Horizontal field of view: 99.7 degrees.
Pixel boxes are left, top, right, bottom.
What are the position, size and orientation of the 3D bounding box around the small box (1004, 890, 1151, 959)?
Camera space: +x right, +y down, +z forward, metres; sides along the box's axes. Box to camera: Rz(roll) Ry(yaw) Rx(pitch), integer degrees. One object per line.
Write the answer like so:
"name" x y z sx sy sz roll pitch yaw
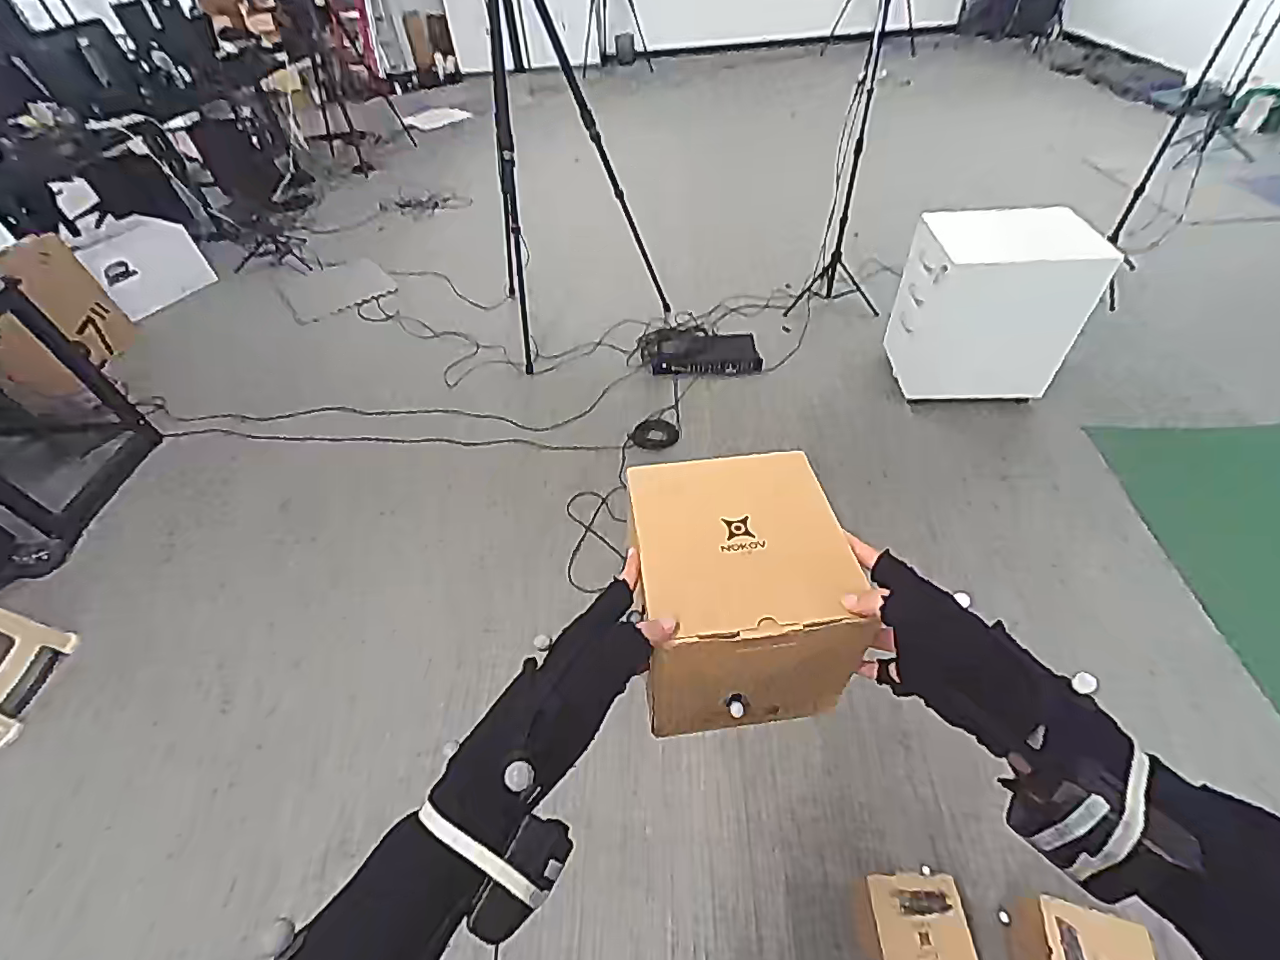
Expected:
"small box" 0.806 0.897 1.002 0.179 0.176 0.168 10 50 13
